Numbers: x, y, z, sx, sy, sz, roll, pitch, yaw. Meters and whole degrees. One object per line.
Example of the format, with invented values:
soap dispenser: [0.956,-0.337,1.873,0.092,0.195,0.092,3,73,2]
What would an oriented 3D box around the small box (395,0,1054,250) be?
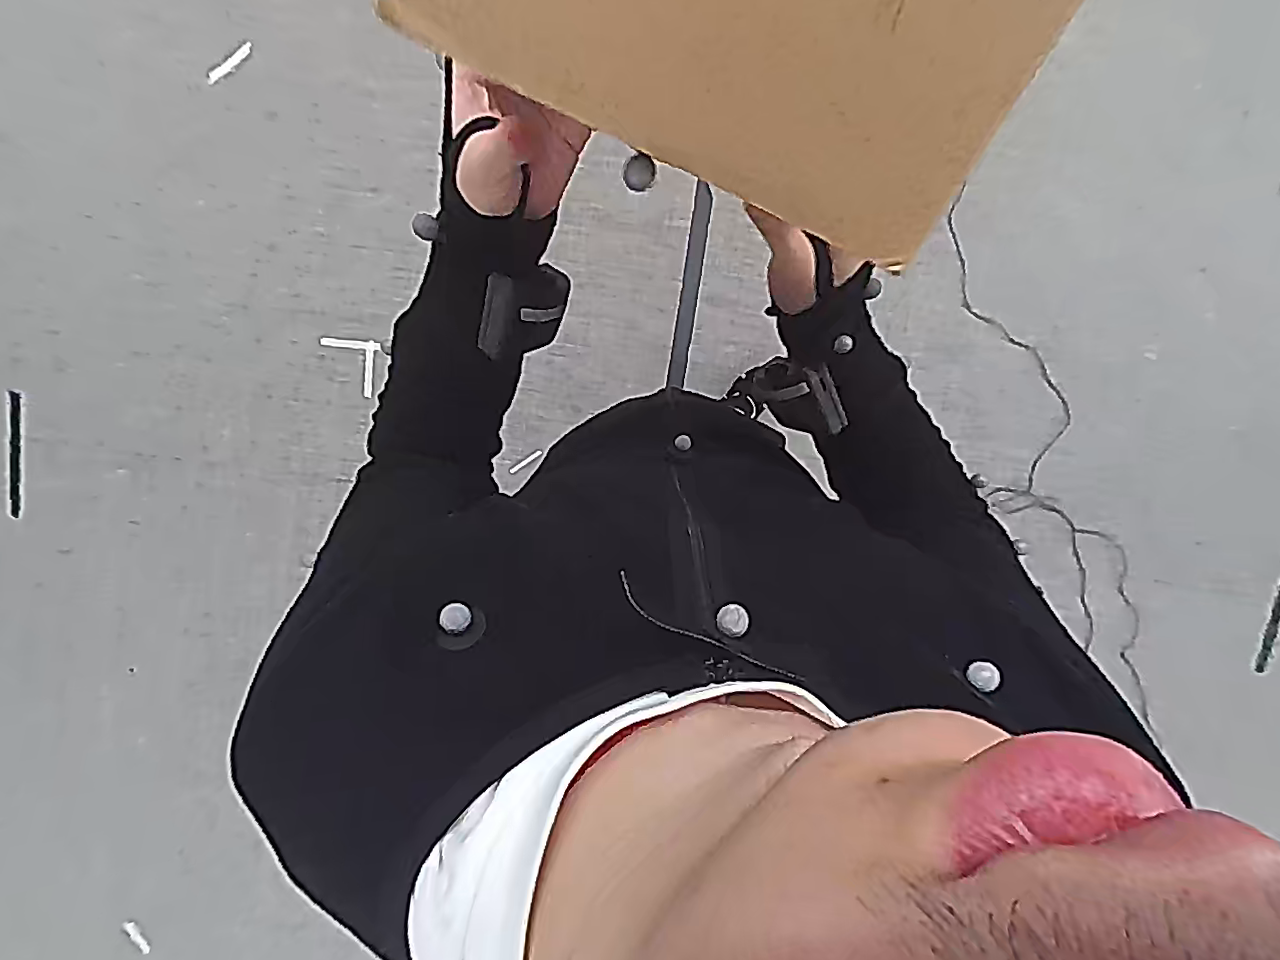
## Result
small box: [0.039,-0.210,0.196,0.179,0.176,0.168,18,124,-10]
